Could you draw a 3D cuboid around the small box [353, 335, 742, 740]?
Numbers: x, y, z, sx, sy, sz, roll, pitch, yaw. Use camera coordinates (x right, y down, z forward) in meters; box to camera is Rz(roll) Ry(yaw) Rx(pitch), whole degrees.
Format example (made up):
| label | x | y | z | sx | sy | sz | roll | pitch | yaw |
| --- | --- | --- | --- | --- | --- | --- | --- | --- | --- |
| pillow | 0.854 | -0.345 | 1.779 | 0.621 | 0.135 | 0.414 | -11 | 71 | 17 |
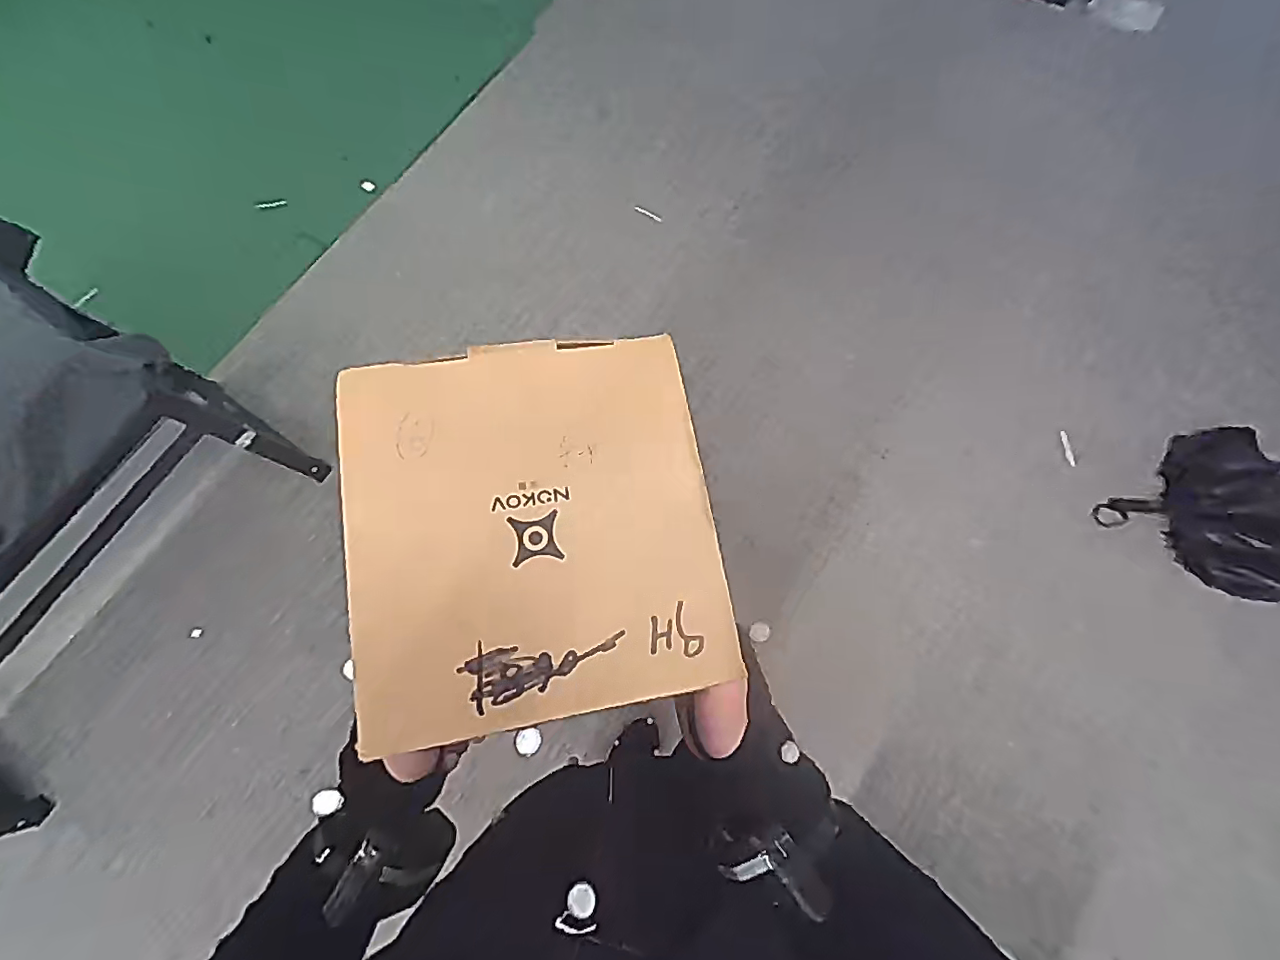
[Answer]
| label | x | y | z | sx | sy | sz | roll | pitch | yaw |
| --- | --- | --- | --- | --- | --- | --- | --- | --- | --- |
| small box | -0.055 | 0.038 | 0.332 | 0.168 | 0.176 | 0.179 | -9 | 75 | -8 |
